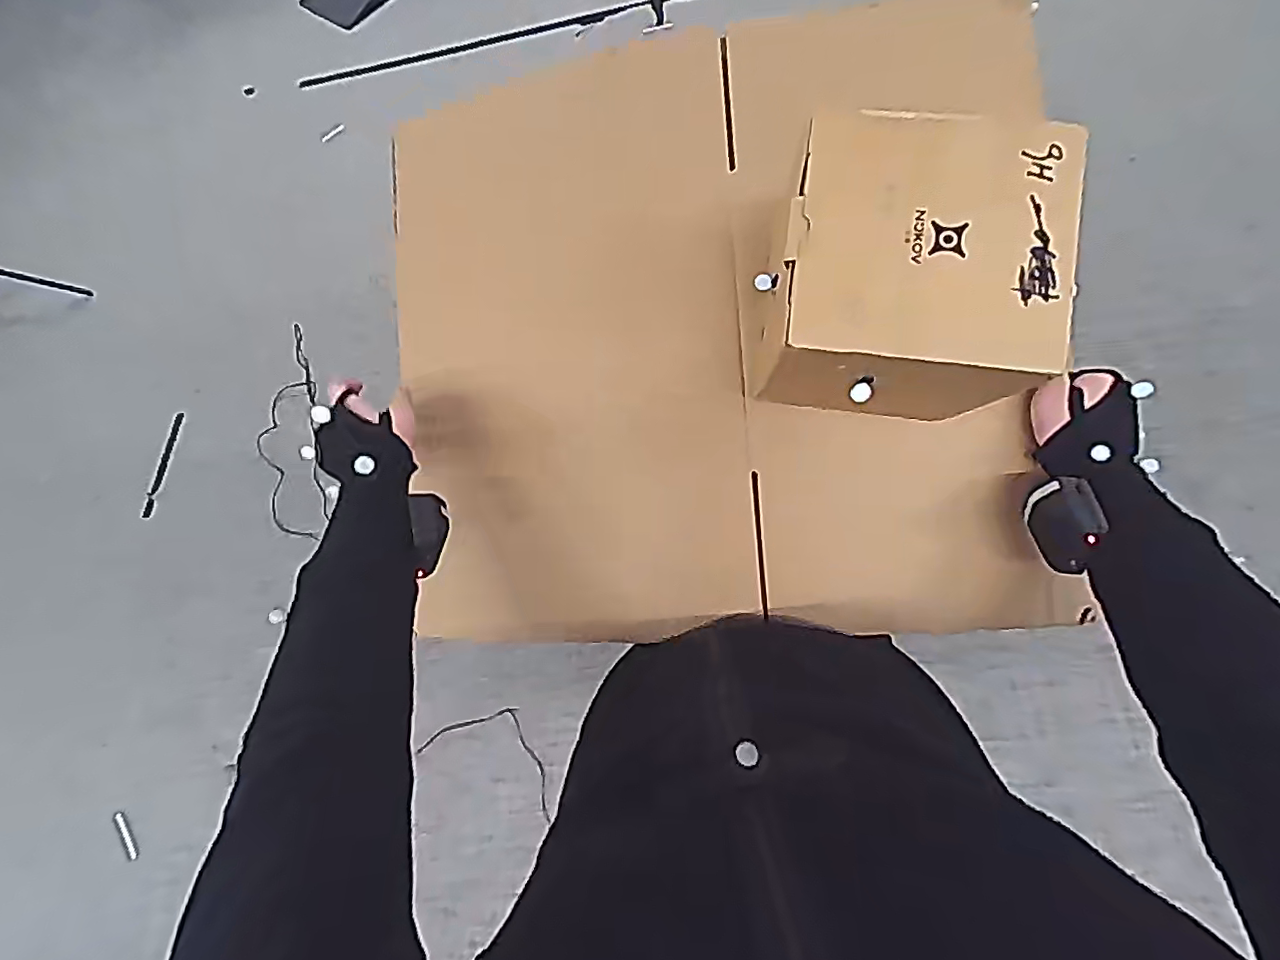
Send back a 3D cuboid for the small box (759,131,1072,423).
[{"bbox_3d":[0.199,-0.146,0.442,0.179,0.176,0.168,7,87,7],"label":"small box"}]
